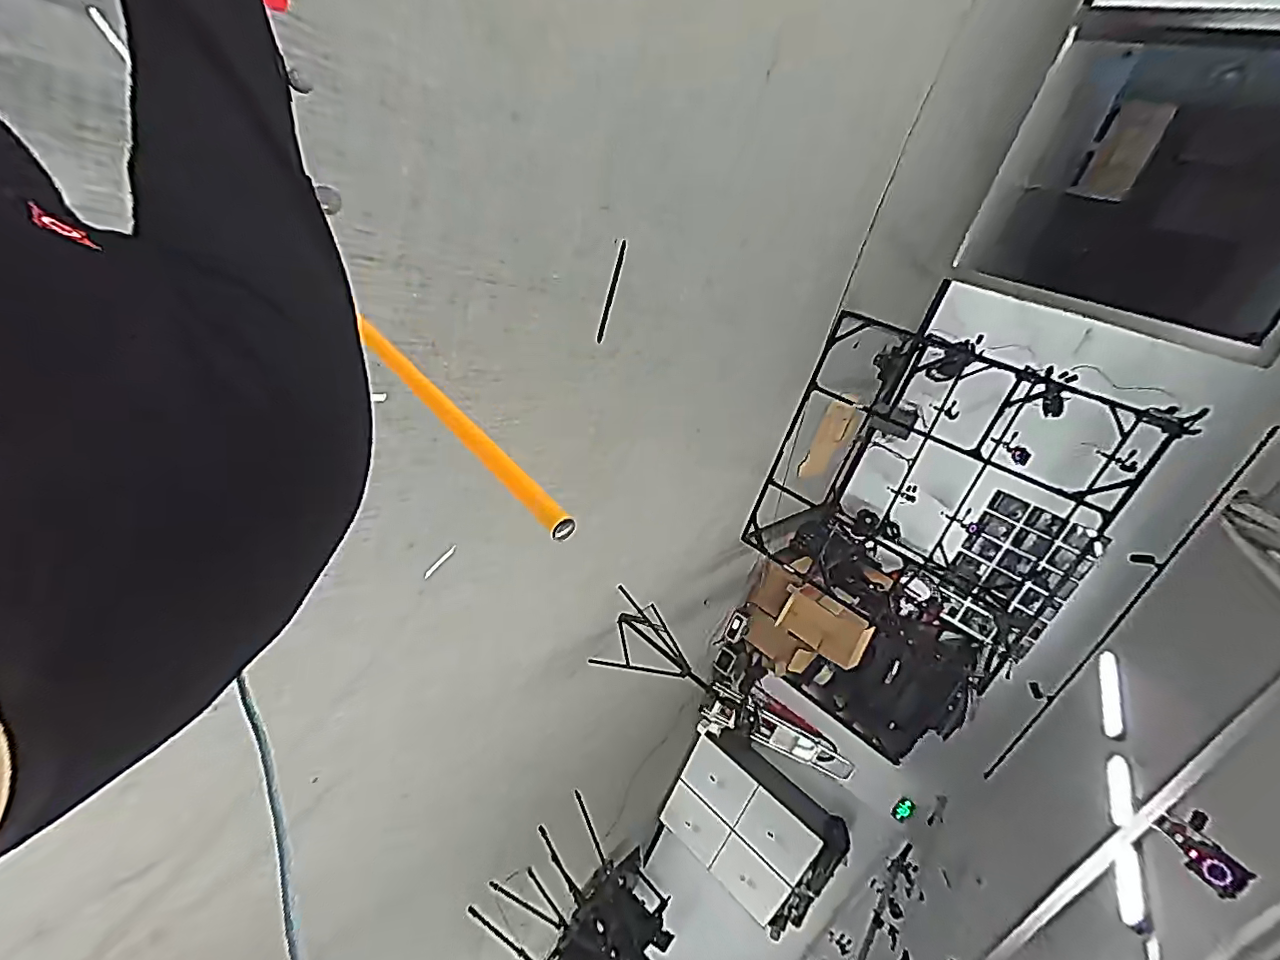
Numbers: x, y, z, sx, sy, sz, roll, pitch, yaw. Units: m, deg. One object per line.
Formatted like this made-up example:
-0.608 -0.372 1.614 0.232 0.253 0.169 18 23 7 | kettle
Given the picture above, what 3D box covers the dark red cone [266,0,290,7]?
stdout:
-0.585 -0.904 0.853 0.201 0.394 0.202 -13 129 -53 | dark red cone
